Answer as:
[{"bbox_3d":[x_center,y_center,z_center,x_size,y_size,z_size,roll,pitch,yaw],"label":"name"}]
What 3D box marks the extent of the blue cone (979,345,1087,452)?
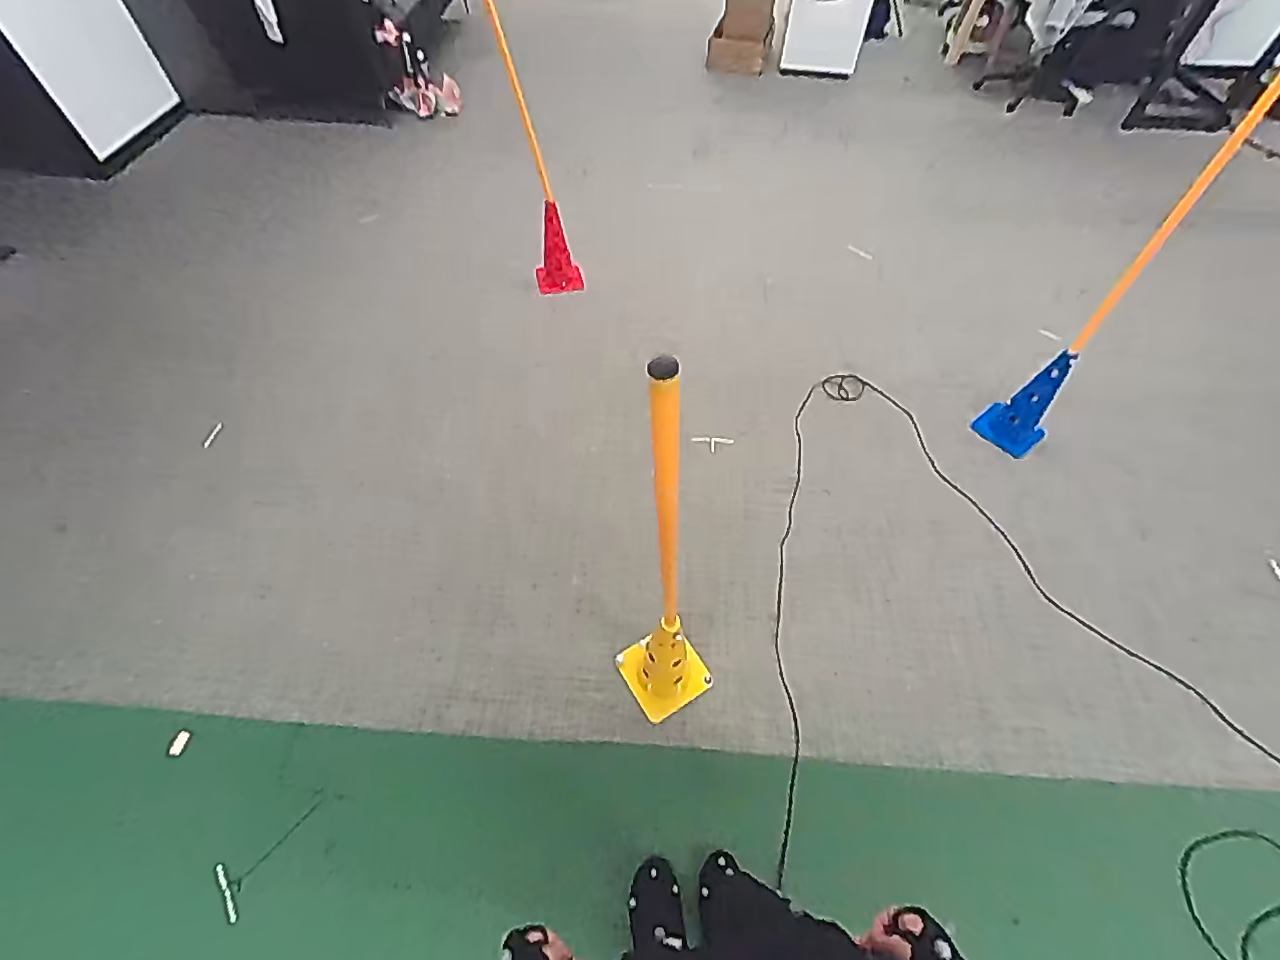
[{"bbox_3d":[1.332,-0.293,1.799,0.193,0.380,0.192,-34,61,-24],"label":"blue cone"}]
